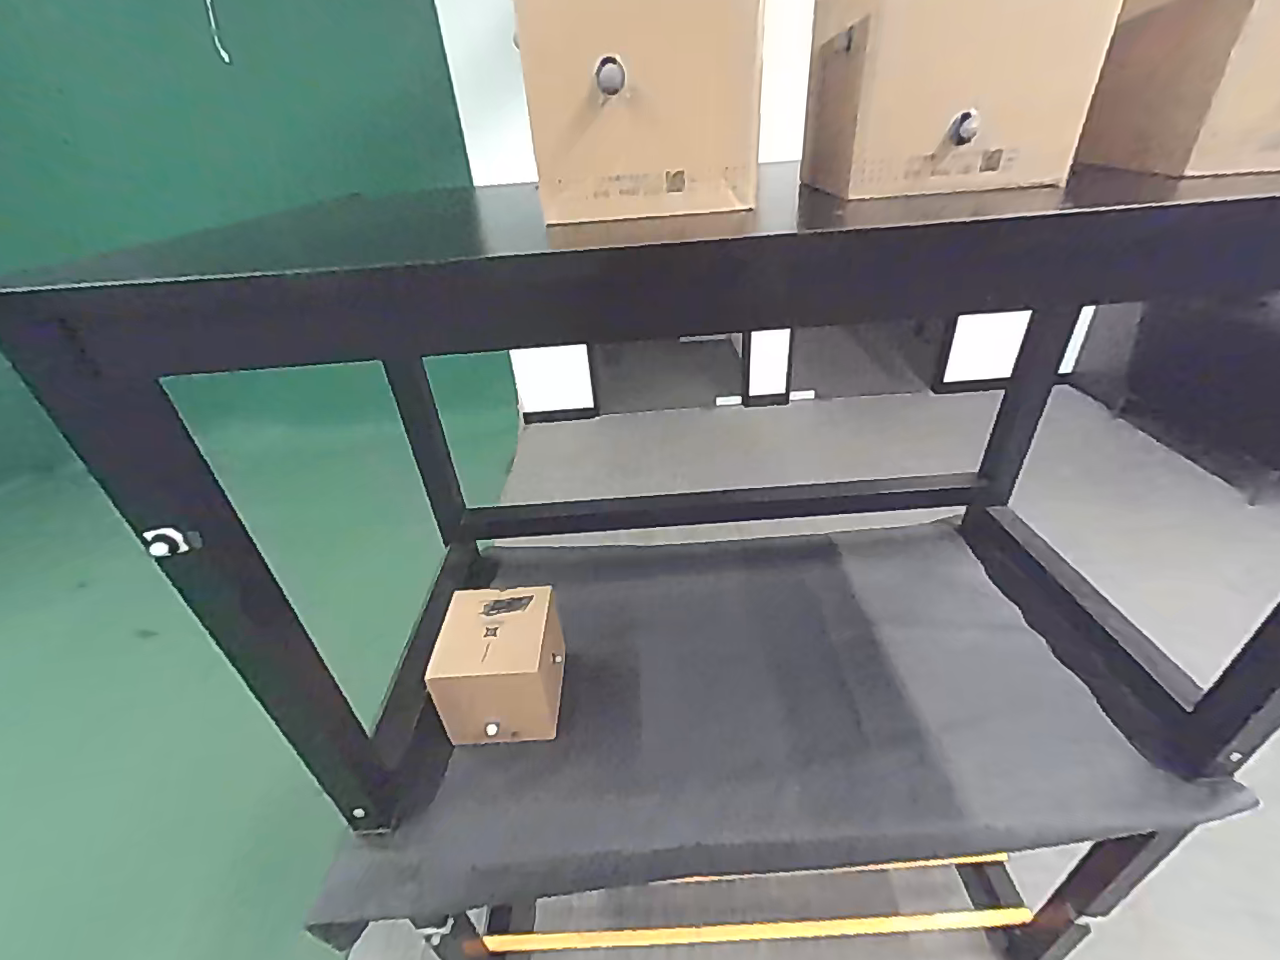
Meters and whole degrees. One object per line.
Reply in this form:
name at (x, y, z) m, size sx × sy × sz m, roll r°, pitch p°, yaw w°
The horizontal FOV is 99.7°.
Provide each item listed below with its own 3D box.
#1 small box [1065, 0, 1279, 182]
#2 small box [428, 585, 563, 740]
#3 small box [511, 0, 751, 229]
small box at (0.485, -0.334, 0.423) m, size 0.168 × 0.176 × 0.179 m, roll 3°, pitch 33°, yaw 11°
small box at (-0.222, 0.295, 0.885) m, size 0.168 × 0.176 × 0.179 m, roll -4°, pitch 33°, yaw 1°
small box at (0.000, -0.316, 0.461) m, size 0.168 × 0.176 × 0.179 m, roll -4°, pitch 32°, yaw 1°
